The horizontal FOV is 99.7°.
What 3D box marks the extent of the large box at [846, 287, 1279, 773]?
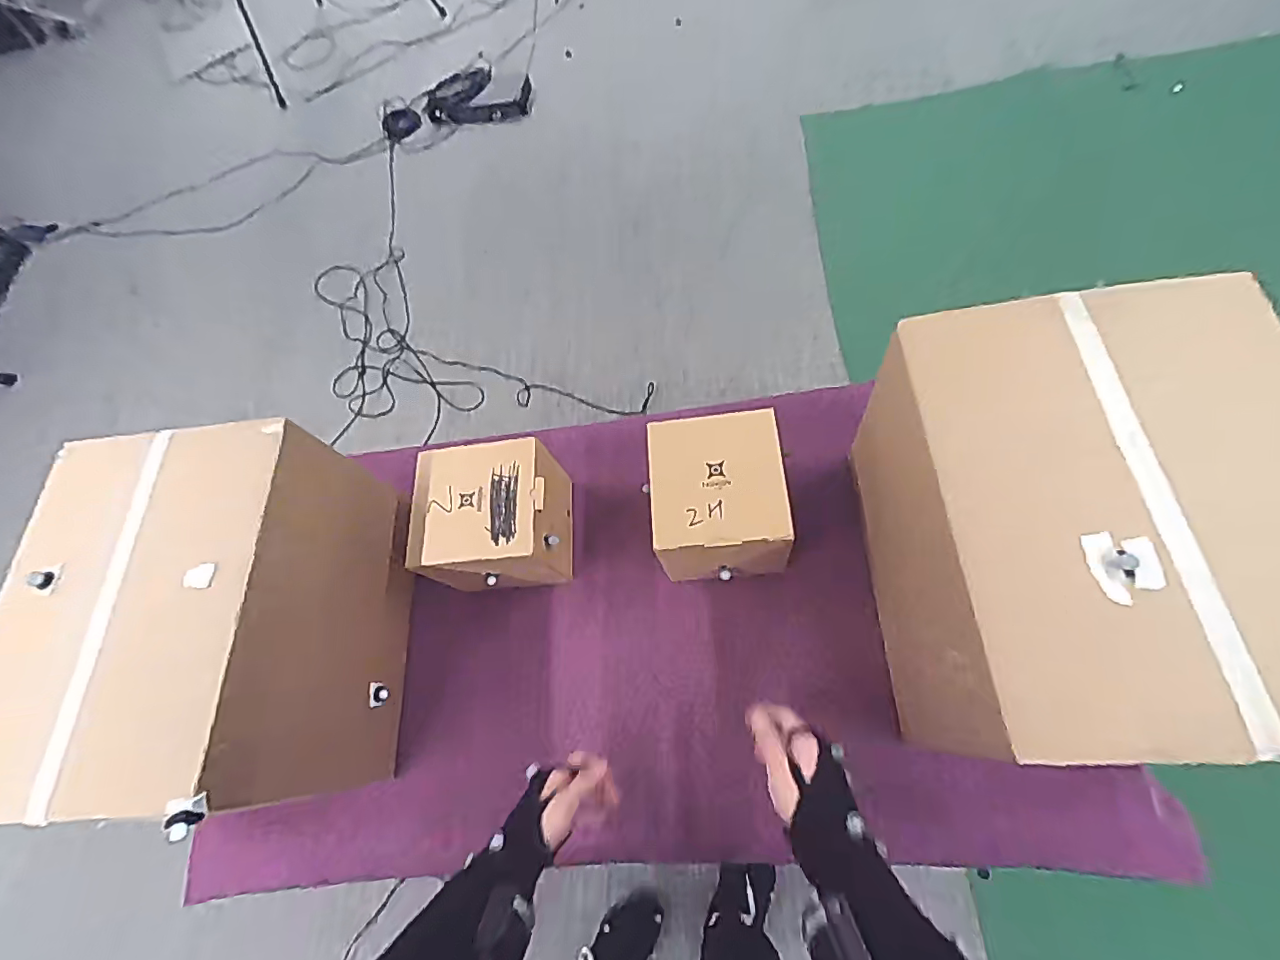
[{"bbox_3d":[0.440,0.071,0.582,0.320,0.320,0.408,-6,66,9],"label":"large box"}]
